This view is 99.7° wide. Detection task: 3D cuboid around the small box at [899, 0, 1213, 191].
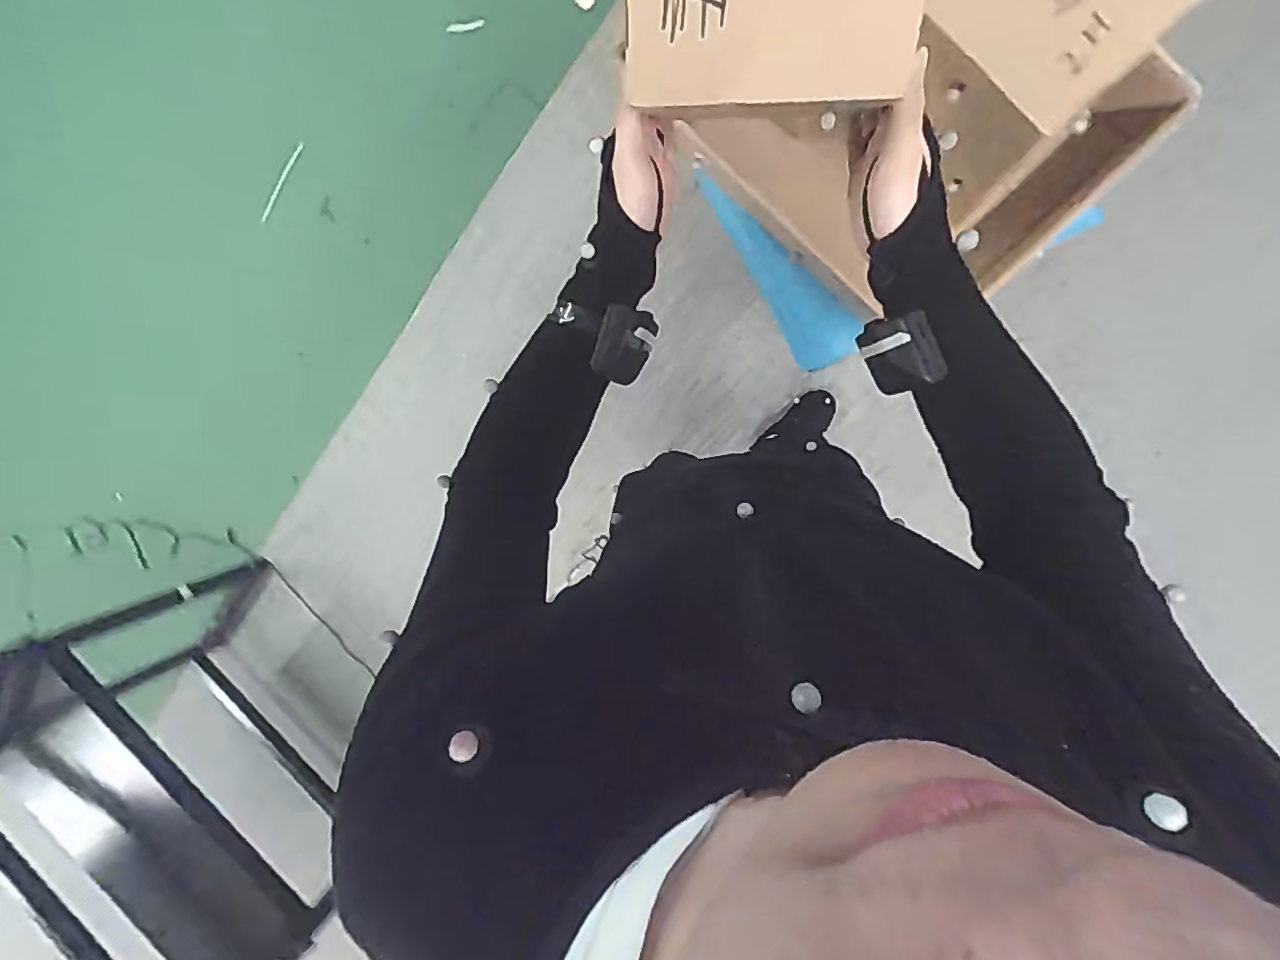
[{"bbox_3d":[0.400,-0.440,0.557,0.168,0.176,0.179,-42,87,19],"label":"small box"}]
